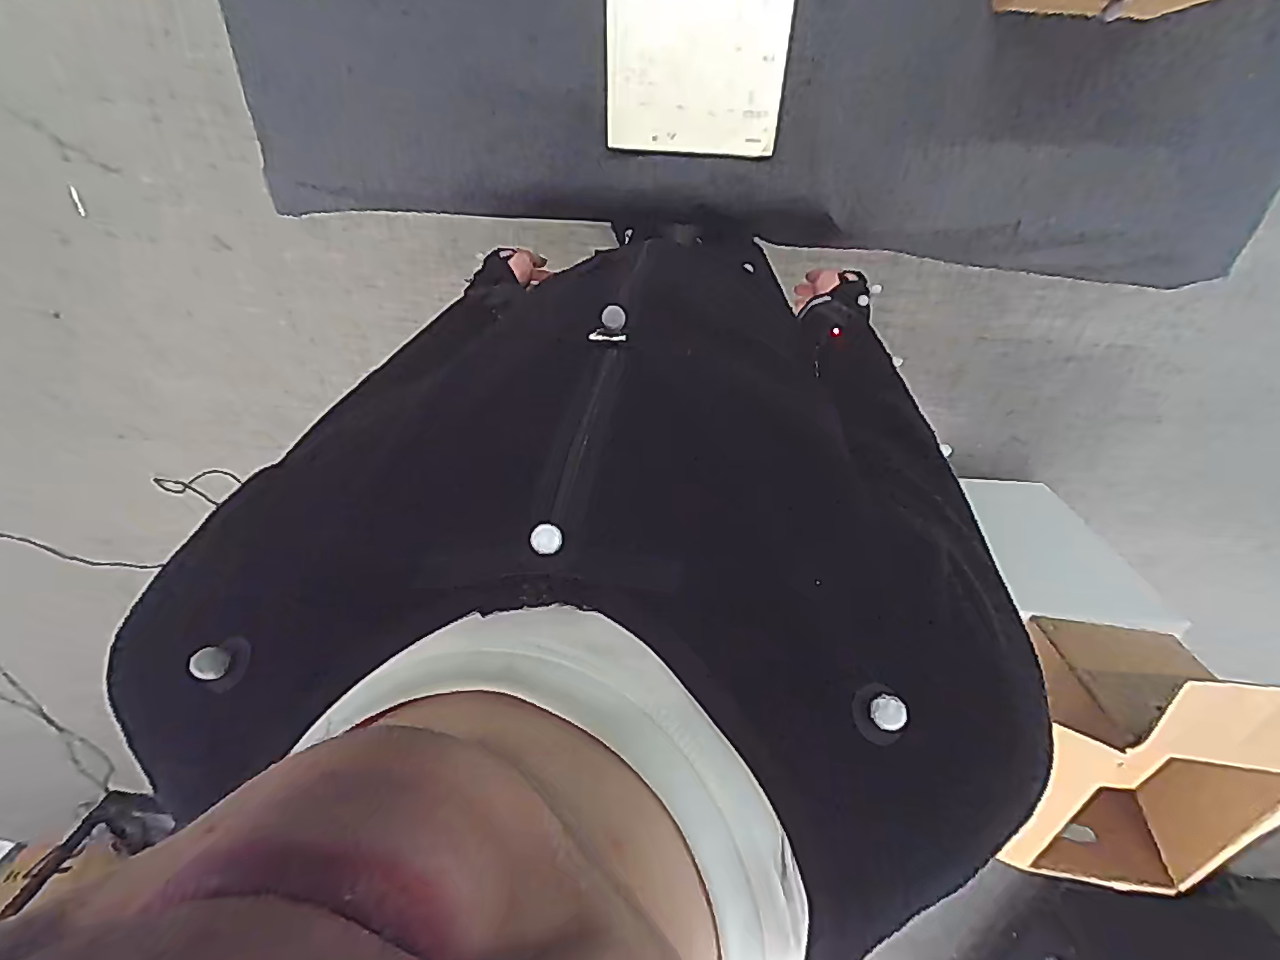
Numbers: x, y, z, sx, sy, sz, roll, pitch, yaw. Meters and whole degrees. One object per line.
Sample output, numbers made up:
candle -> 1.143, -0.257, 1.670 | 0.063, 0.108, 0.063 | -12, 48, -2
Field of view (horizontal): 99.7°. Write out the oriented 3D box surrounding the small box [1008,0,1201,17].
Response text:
small box -> 0.438, -0.509, 0.446 | 0.168, 0.176, 0.179 | 5, 123, 2
